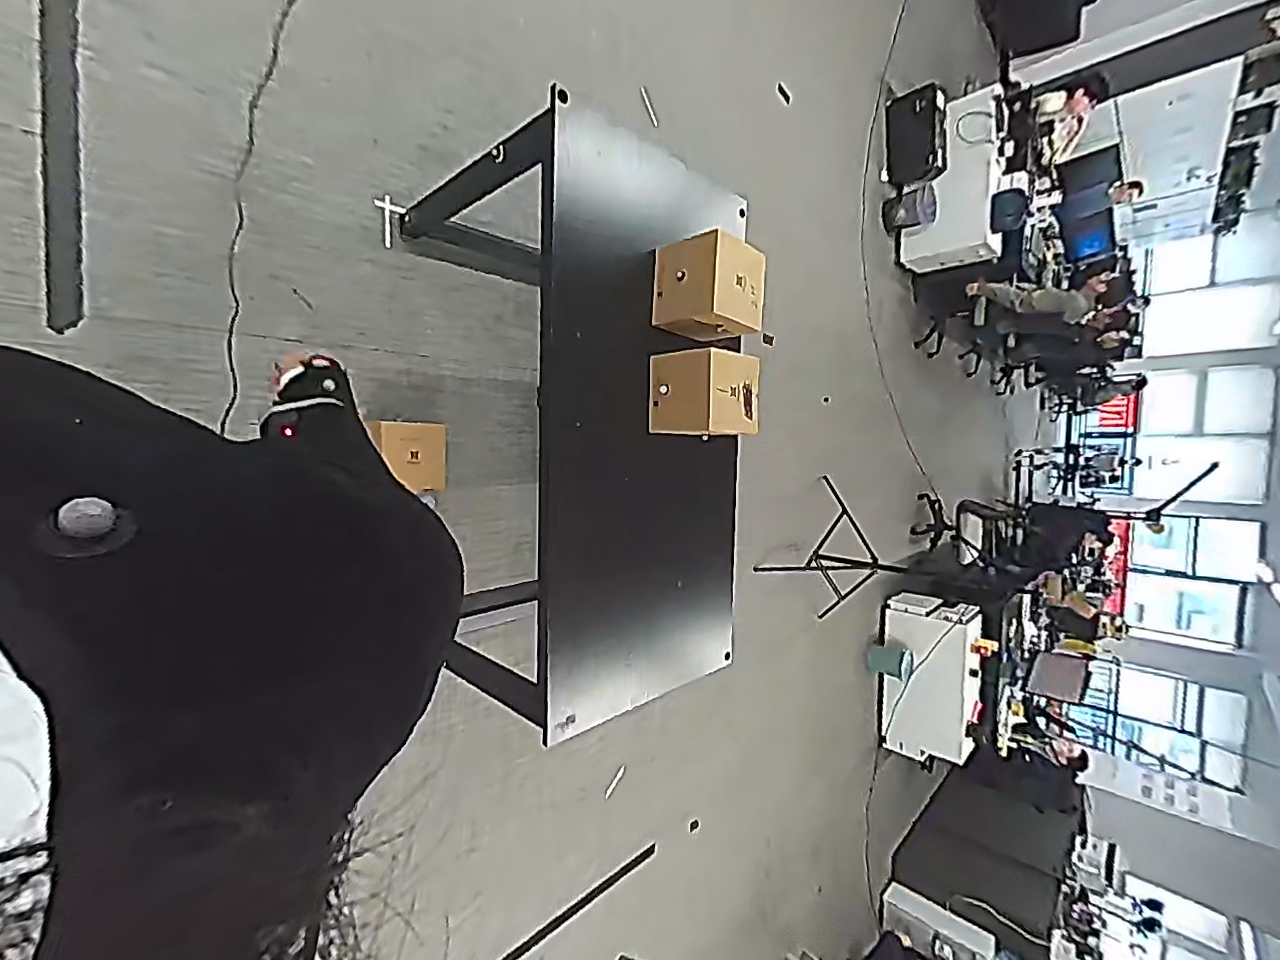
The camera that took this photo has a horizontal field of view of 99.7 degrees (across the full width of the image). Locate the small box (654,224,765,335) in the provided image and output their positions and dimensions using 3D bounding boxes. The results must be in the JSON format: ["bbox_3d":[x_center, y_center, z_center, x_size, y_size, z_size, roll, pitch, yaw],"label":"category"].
[{"bbox_3d":[0.146,-0.415,1.155,0.179,0.176,0.168,2,92,-46],"label":"small box"}]

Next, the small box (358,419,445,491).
[{"bbox_3d":[-0.632,-0.067,1.431,0.168,0.176,0.179,-3,94,-46],"label":"small box"}]

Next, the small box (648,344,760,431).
[{"bbox_3d":[0.138,-0.190,1.163,0.179,0.176,0.168,-4,96,-44],"label":"small box"}]
